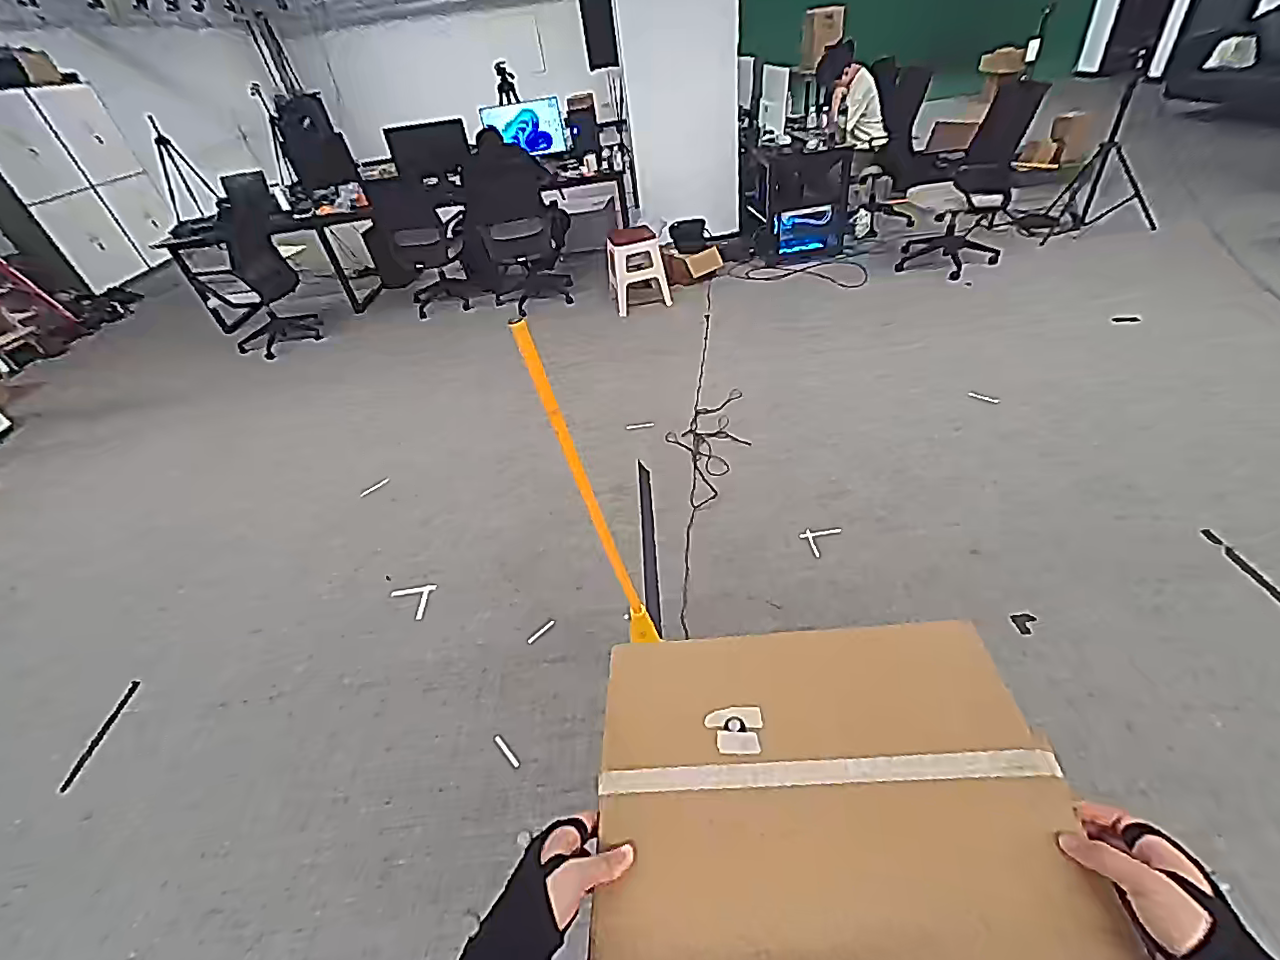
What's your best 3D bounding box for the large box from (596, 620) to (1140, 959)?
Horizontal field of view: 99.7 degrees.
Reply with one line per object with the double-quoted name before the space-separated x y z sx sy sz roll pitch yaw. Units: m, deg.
"large box" 0.192 0.393 0.605 0.408 0.320 0.320 -8 37 9
